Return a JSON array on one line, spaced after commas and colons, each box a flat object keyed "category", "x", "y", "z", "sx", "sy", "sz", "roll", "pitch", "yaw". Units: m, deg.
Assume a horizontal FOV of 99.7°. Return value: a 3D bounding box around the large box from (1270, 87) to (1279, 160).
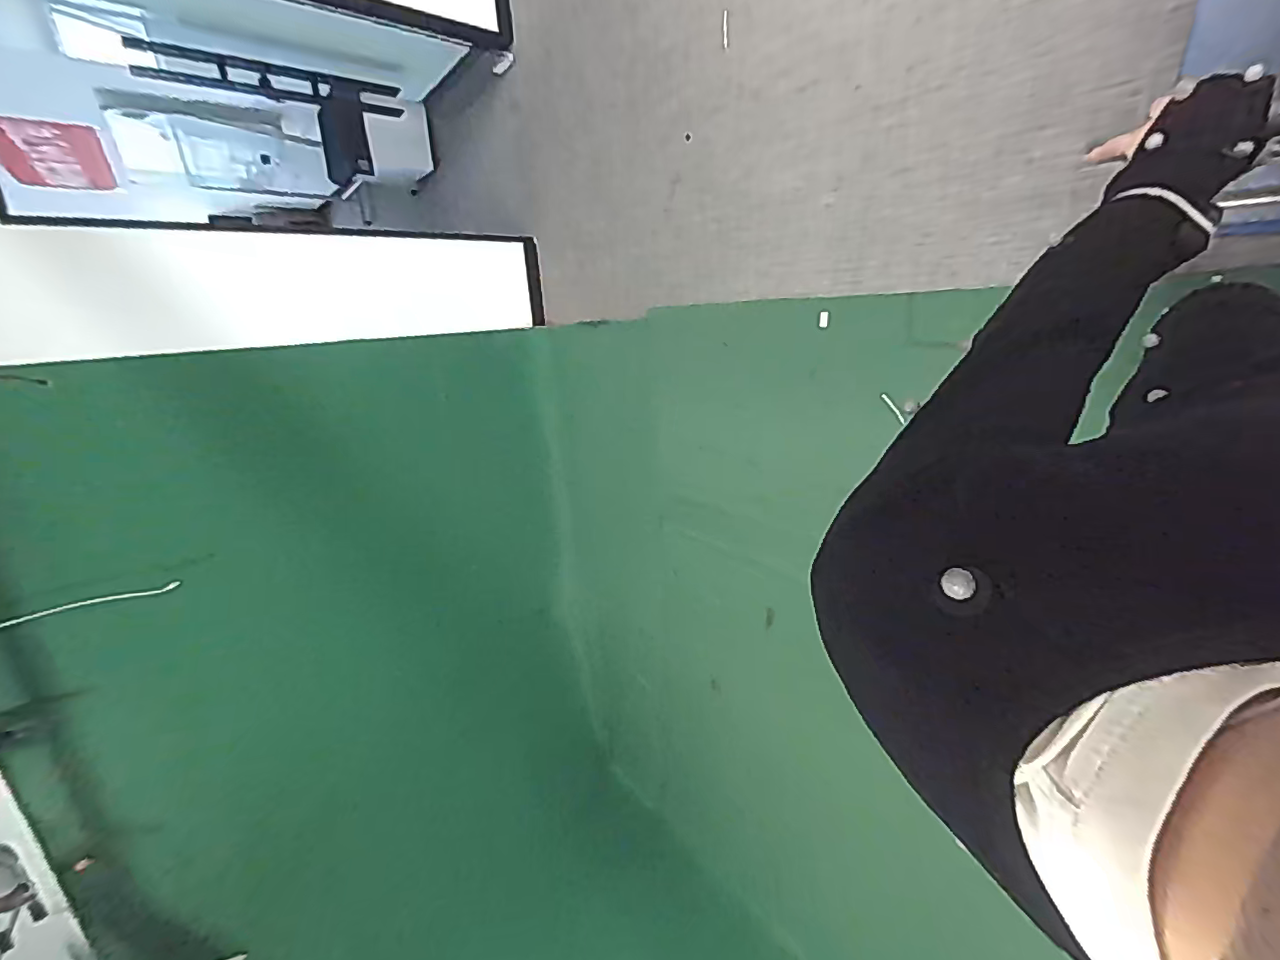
[{"category": "large box", "x": 1.047, "y": -0.634, "z": 0.647, "sx": 0.320, "sy": 0.320, "sz": 0.408, "roll": 17, "pitch": 115, "yaw": 47}]
